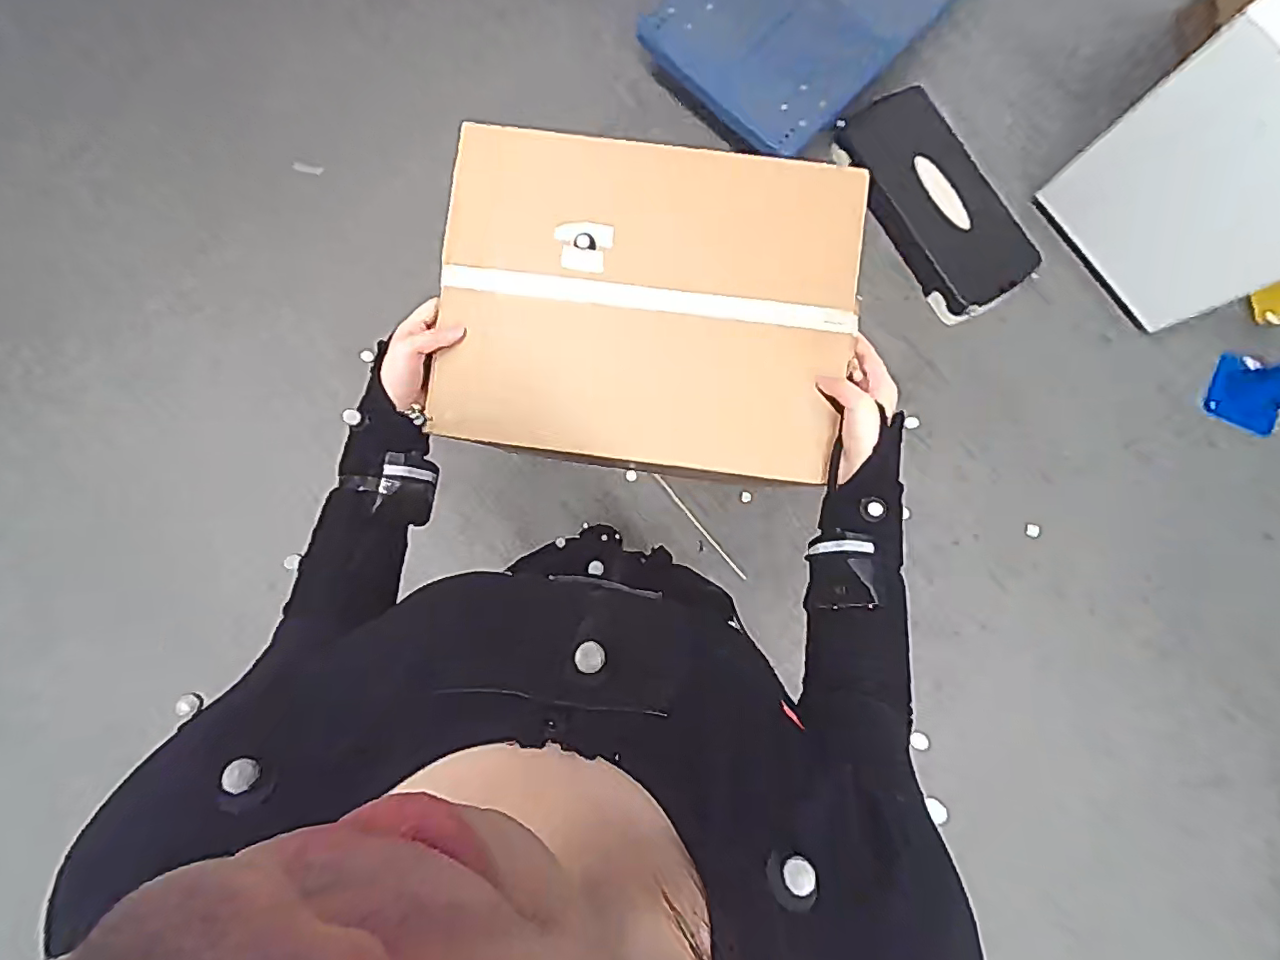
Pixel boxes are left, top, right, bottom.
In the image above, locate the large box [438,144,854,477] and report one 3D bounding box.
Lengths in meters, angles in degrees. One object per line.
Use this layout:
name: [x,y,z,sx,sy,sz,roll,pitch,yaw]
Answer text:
large box: [0.011,-0.174,0.692,0.408,0.320,0.320,6,89,3]
